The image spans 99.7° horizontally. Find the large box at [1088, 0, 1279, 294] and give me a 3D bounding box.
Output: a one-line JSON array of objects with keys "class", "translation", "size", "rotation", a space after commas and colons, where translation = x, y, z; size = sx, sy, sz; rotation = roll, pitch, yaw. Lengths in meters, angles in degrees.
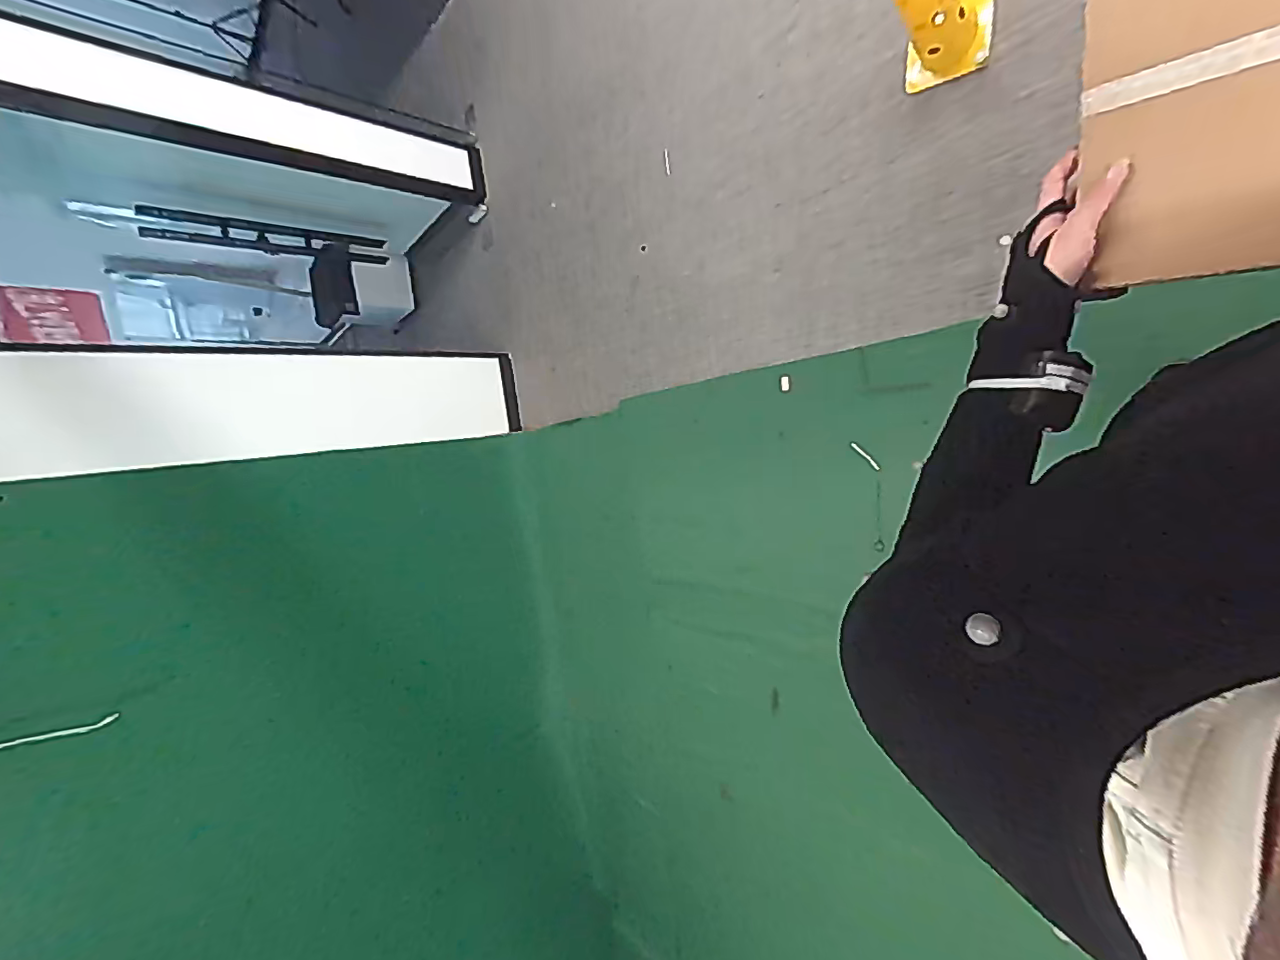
[{"class": "large box", "translation": [0.640, -0.348, 0.432], "size": [0.408, 0.320, 0.320], "rotation": [6, 111, 46]}]
